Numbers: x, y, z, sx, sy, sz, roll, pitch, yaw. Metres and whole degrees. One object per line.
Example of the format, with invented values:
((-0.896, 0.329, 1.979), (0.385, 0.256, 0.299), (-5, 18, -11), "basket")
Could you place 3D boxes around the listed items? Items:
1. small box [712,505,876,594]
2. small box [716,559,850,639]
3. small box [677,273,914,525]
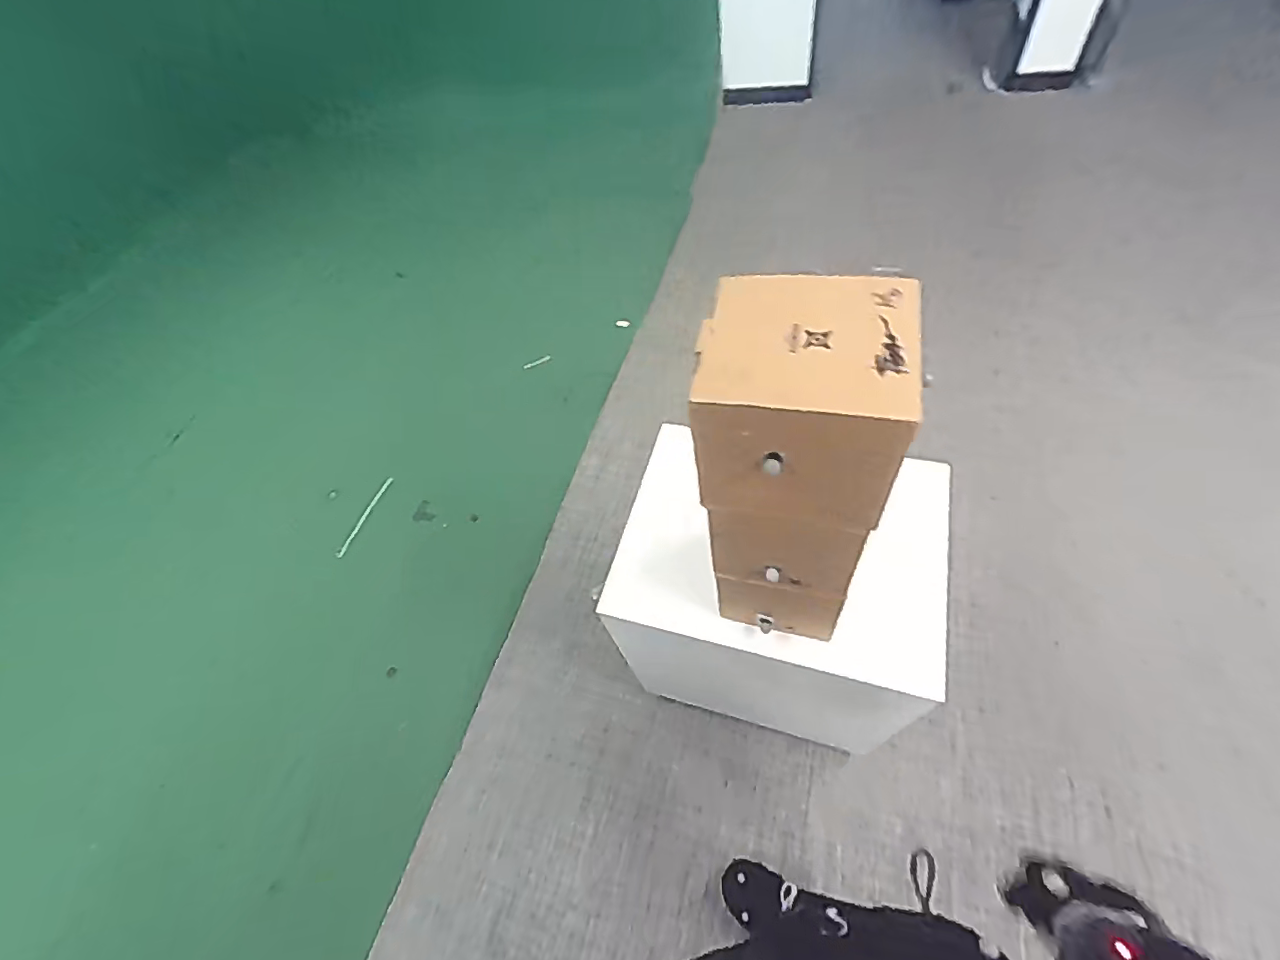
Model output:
((0.182, 0.013, 0.648), (0.168, 0.176, 0.179), (6, 56, 16), "small box")
((0.211, 0.106, 0.779), (0.168, 0.176, 0.179), (8, 60, 18), "small box")
((0.147, -0.073, 0.512), (0.179, 0.176, 0.168), (7, 59, 18), "small box")
